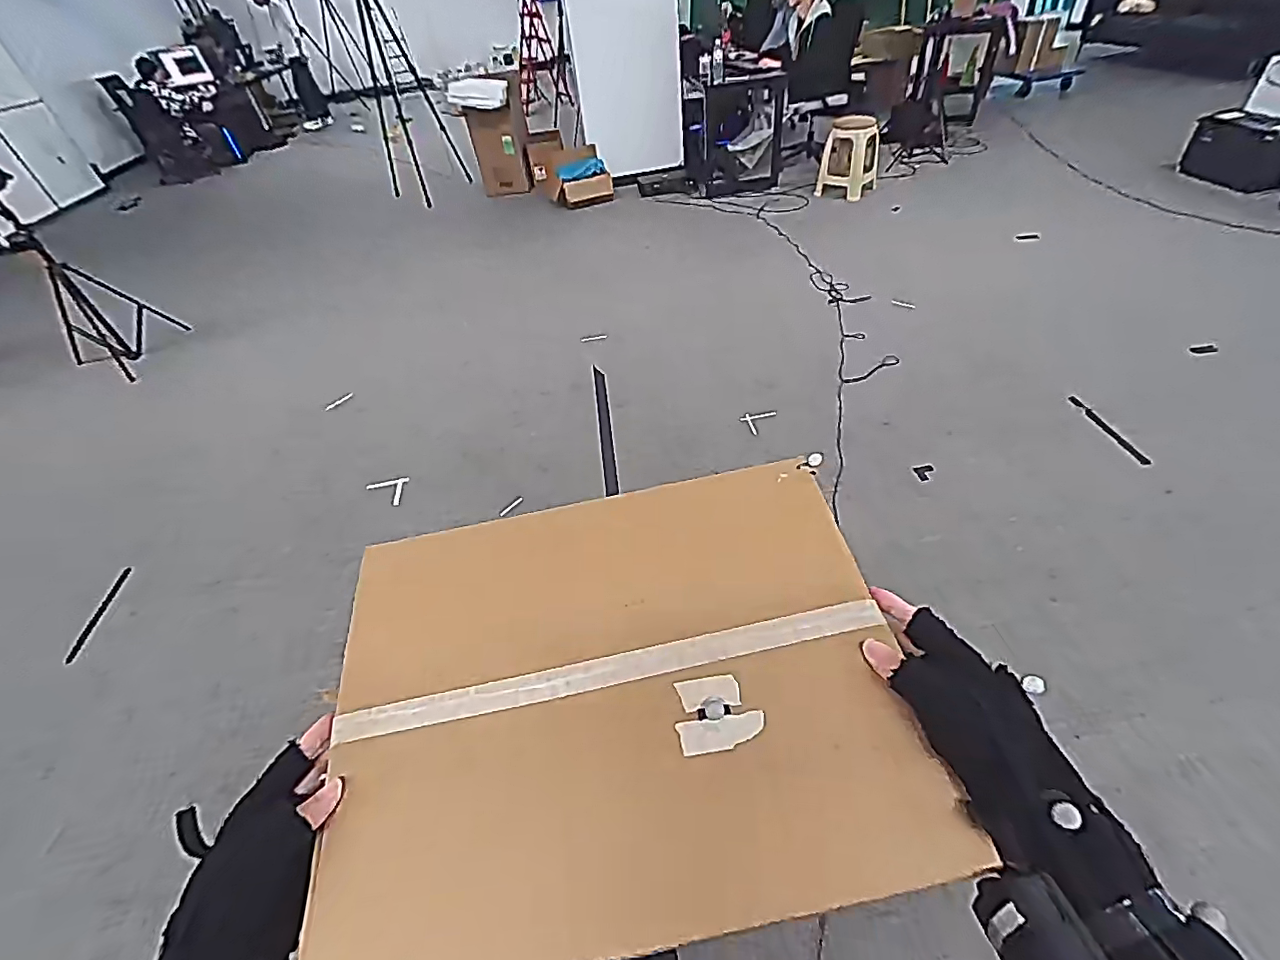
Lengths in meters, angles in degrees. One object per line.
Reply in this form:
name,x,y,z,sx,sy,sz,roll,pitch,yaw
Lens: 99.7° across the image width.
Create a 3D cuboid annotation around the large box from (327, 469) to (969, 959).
large box,-0.005,0.237,0.528,0.408,0.320,0.320,-11,52,-2
